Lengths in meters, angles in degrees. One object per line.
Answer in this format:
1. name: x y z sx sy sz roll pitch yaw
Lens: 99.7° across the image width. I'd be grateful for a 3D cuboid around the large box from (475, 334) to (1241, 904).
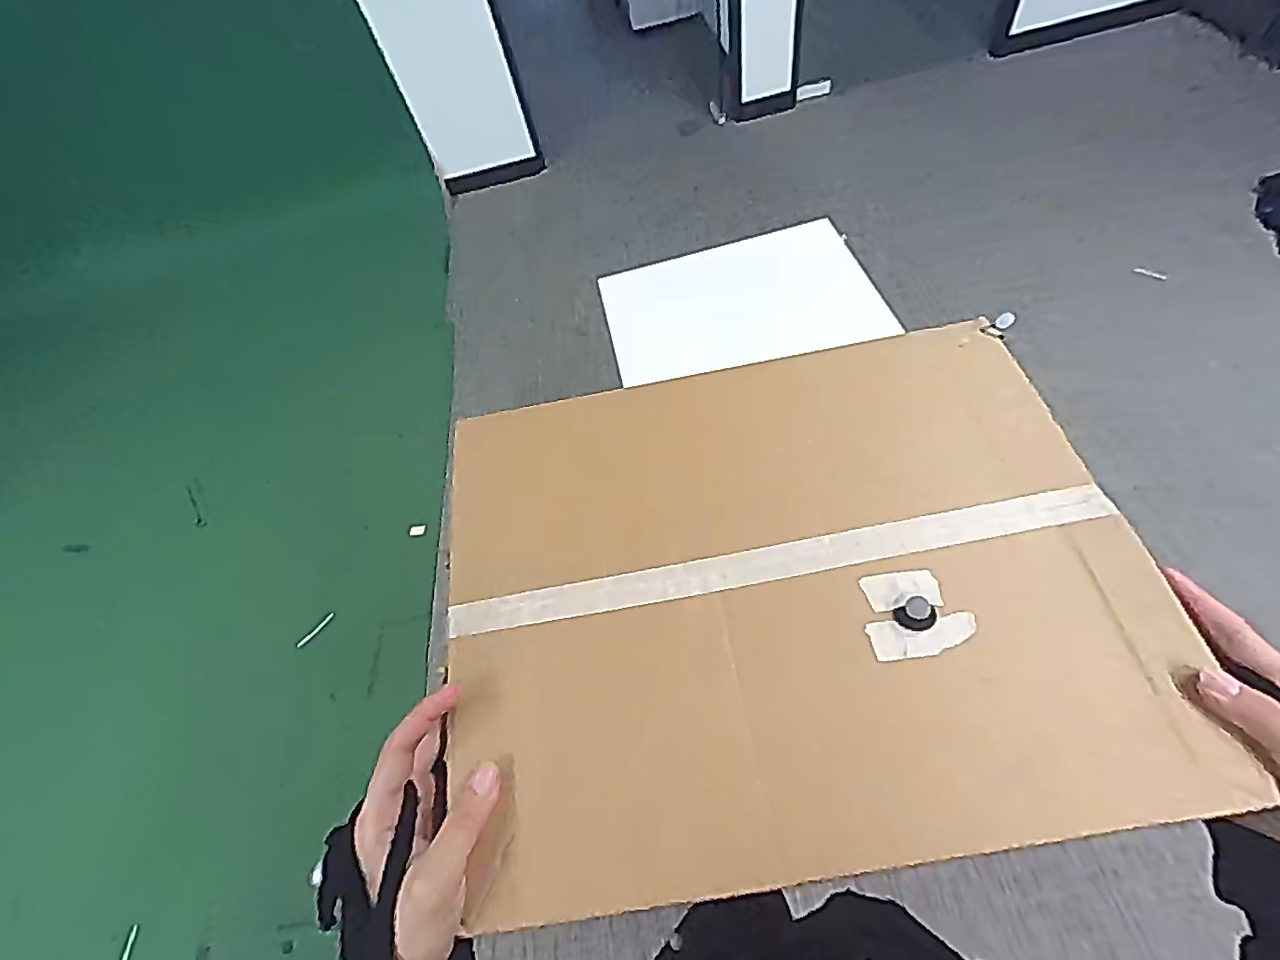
1. large box: 0.102 0.123 0.475 0.408 0.320 0.320 -10 61 1
